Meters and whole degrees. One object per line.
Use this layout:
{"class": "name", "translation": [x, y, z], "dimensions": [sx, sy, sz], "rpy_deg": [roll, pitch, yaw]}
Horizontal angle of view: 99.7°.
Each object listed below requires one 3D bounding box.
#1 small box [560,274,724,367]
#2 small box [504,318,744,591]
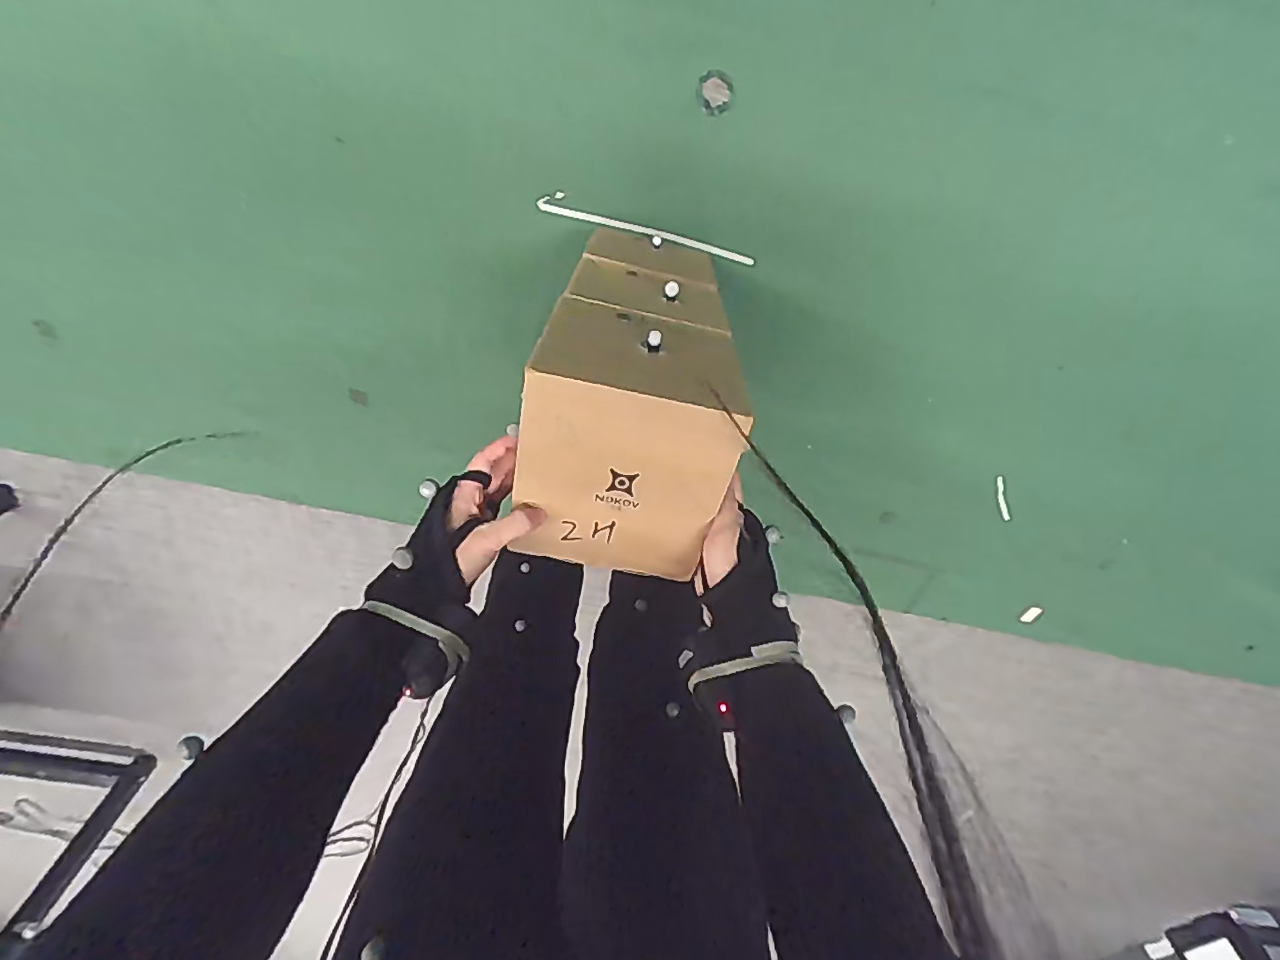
{"class": "small box", "translation": [-0.013, -0.123, 0.630], "dimensions": [0.168, 0.176, 0.179], "rpy_deg": [10, 125, -5]}
{"class": "small box", "translation": [-0.020, -0.029, 0.495], "dimensions": [0.168, 0.176, 0.179], "rpy_deg": [11, 125, -6]}
